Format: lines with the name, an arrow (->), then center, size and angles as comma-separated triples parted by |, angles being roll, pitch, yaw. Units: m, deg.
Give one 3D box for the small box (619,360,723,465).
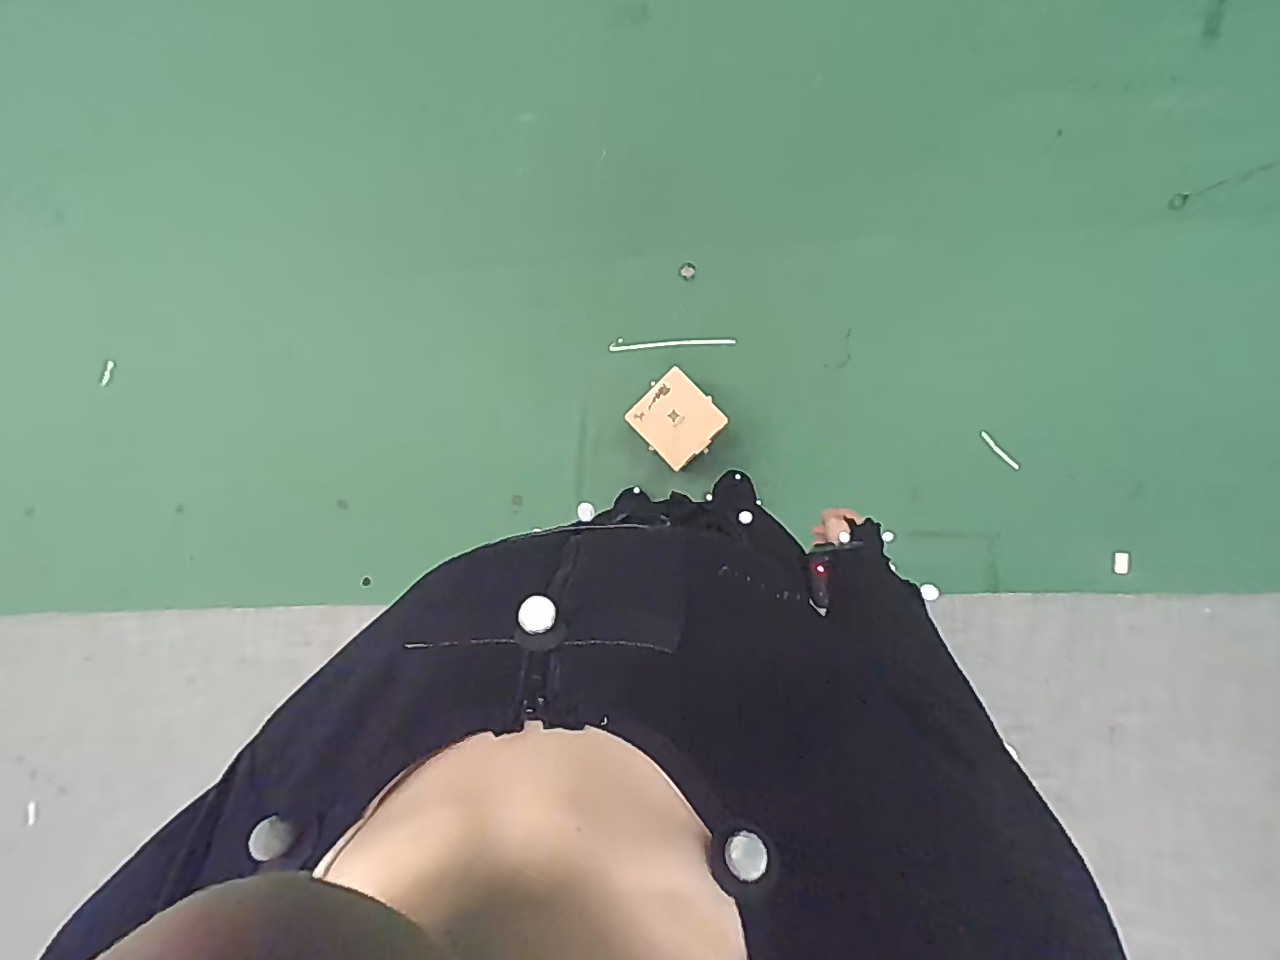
small box -> 0.075, -0.157, 1.277 | 0.168, 0.176, 0.179 | -44, 89, 6
